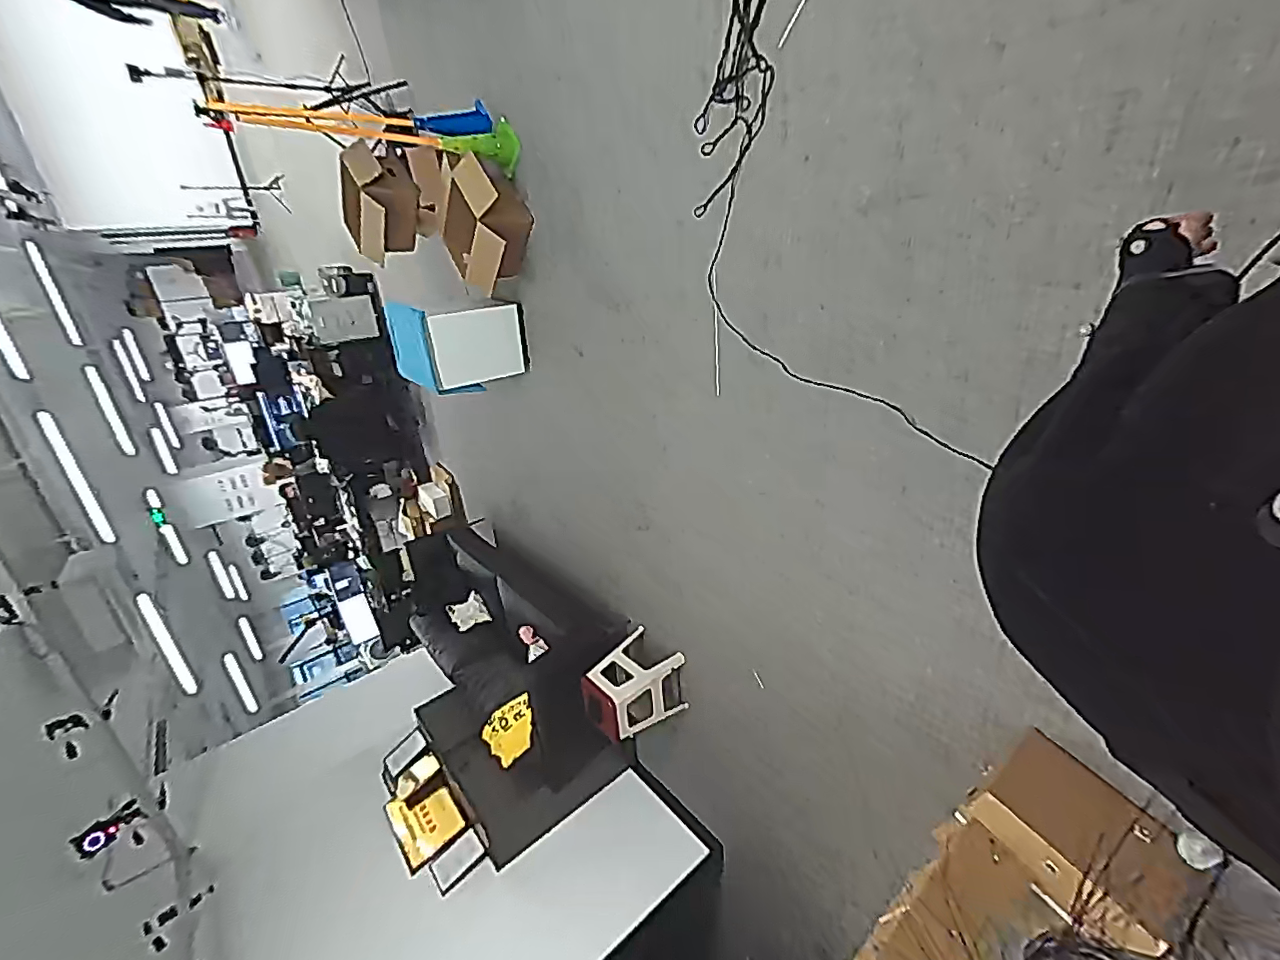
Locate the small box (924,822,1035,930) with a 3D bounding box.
[{"bbox_3d":[0.873,1.036,1.399,0.168,0.176,0.179,41,139,34],"label":"small box"}]

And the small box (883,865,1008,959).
[{"bbox_3d":[0.742,1.083,1.316,0.179,0.176,0.168,42,140,33],"label":"small box"}]
